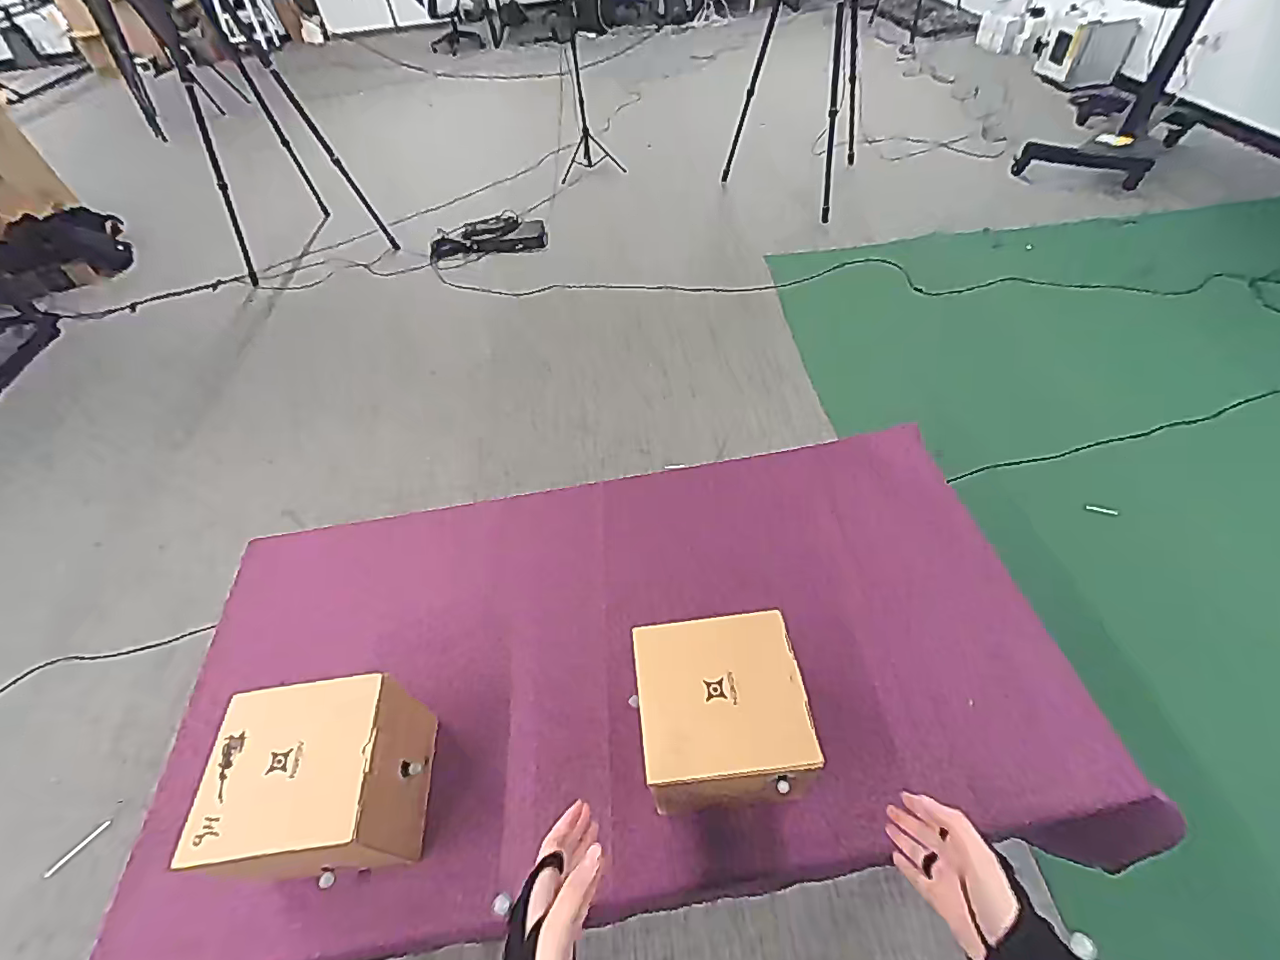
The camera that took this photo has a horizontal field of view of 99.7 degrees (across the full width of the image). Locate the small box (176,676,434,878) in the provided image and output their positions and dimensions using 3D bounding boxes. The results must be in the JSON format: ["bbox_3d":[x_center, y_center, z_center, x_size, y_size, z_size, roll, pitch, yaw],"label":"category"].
[{"bbox_3d":[-0.358,0.346,0.626,0.179,0.176,0.168,-8,49,-1],"label":"small box"}]

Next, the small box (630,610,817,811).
[{"bbox_3d":[0.088,0.274,0.636,0.179,0.176,0.168,-7,49,0],"label":"small box"}]
